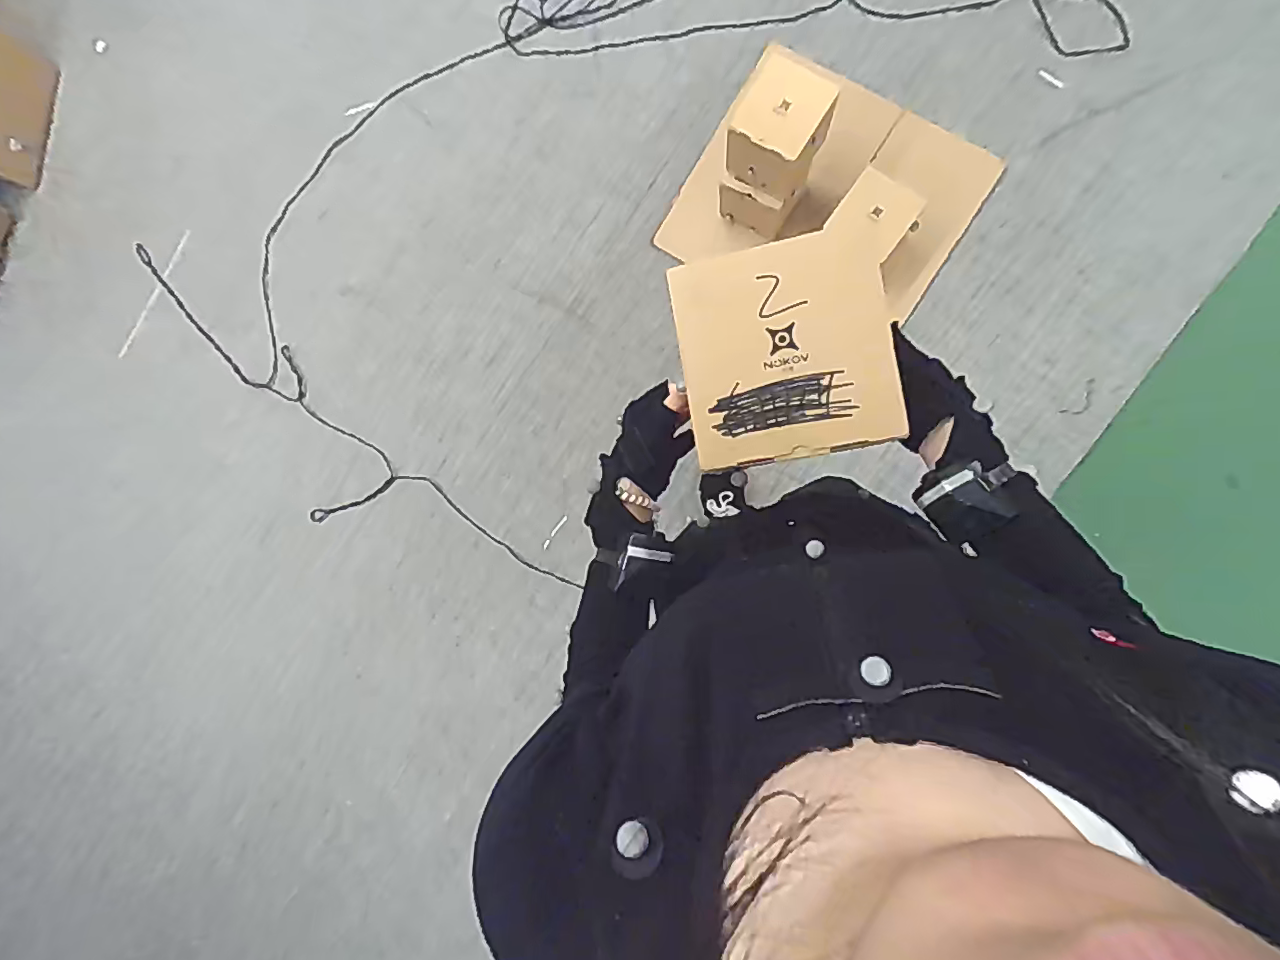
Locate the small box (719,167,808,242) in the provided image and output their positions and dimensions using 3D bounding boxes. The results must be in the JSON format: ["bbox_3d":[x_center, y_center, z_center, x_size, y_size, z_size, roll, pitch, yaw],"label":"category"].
[{"bbox_3d":[0.315,-0.742,1.371,0.168,0.176,0.179,30,94,7],"label":"small box"}]

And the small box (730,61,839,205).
[{"bbox_3d":[0.310,-0.764,1.207,0.168,0.176,0.179,33,94,7],"label":"small box"}]

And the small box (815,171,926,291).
[{"bbox_3d":[0.557,-0.607,1.338,0.168,0.176,0.179,37,96,8],"label":"small box"}]
